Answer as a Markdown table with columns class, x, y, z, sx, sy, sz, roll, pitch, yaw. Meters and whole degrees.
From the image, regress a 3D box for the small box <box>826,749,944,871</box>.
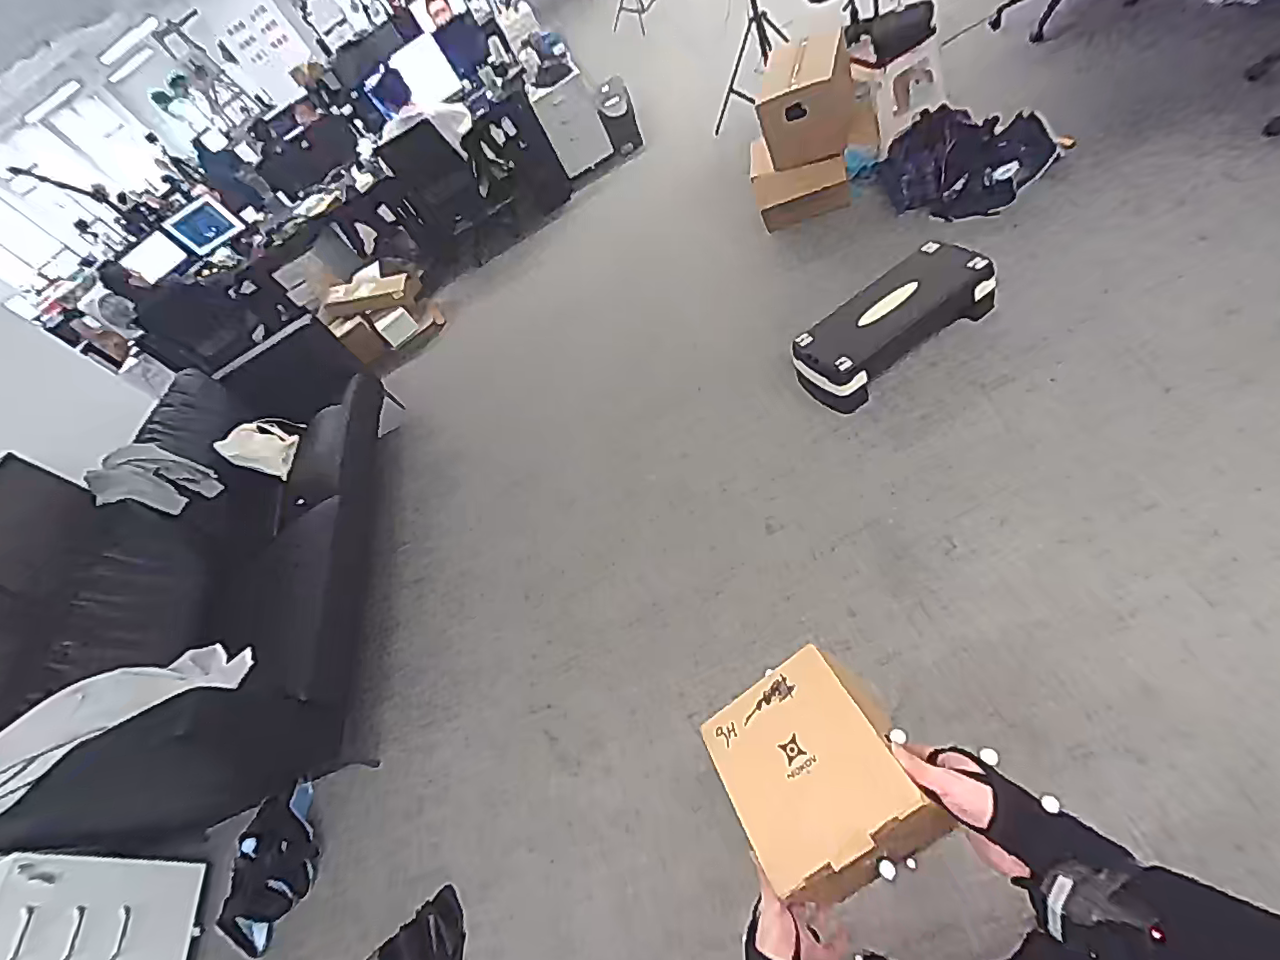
| class | x | y | z | sx | sy | sz | roll | pitch | yaw |
| --- | --- | --- | --- | --- | --- | --- | --- | --- | --- |
| small box | 0.536 | 0.727 | 1.186 | 0.168 | 0.176 | 0.179 | -31 | 47 | 6 |
